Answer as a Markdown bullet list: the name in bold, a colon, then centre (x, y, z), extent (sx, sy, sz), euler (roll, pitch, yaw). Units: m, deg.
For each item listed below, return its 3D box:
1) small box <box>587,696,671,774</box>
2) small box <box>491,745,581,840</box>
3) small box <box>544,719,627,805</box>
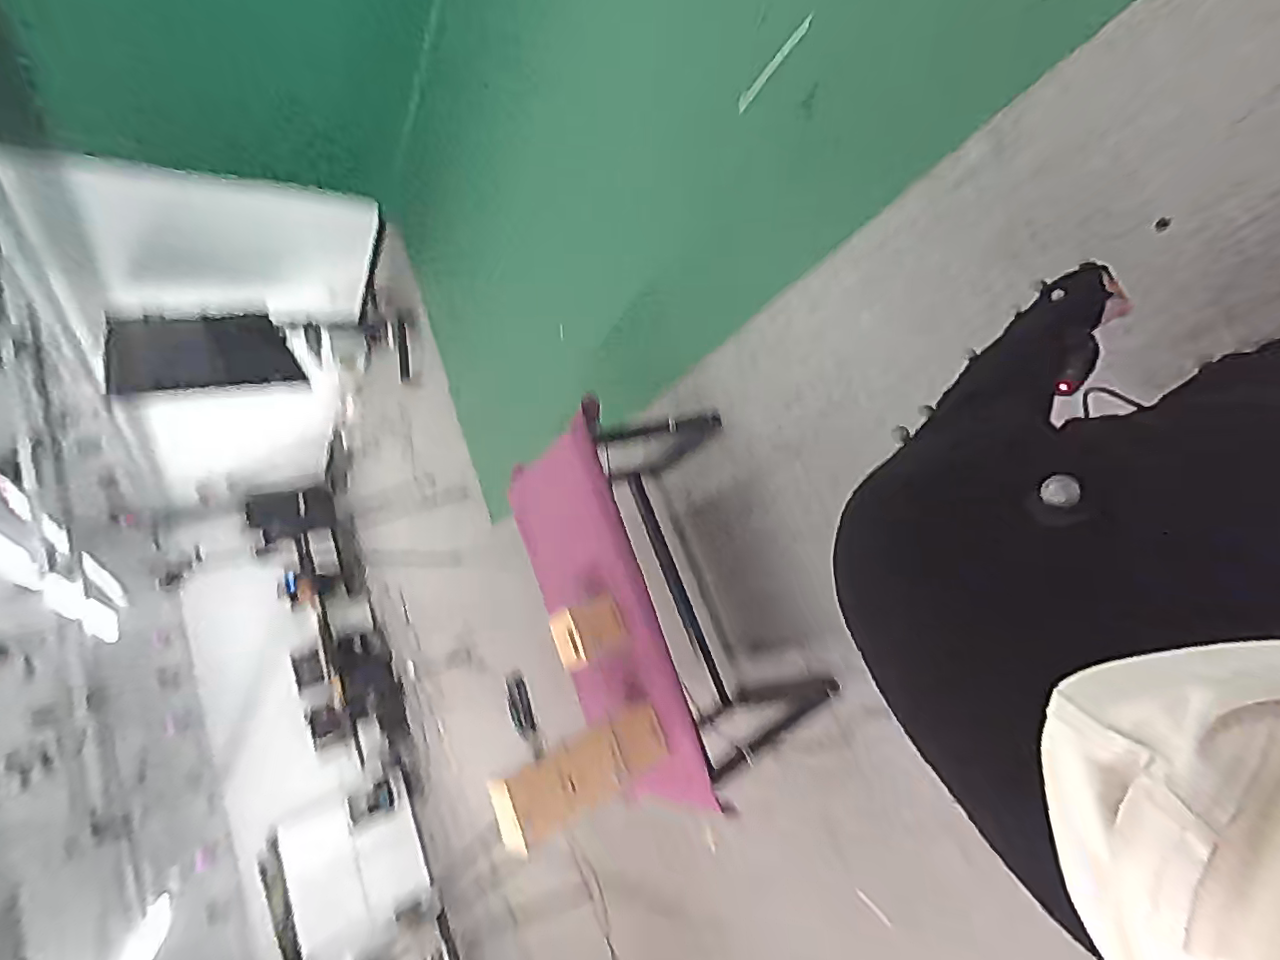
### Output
- **small box**: centre (-0.034, 0.793, 1.691), extent (0.179, 0.176, 0.168), euler (-35, 73, 50)
- **small box**: centre (-0.287, 0.852, 1.493), extent (0.179, 0.176, 0.168), euler (-37, 72, 51)
- **small box**: centre (-0.156, 0.819, 1.586), extent (0.179, 0.176, 0.168), euler (-36, 72, 52)
